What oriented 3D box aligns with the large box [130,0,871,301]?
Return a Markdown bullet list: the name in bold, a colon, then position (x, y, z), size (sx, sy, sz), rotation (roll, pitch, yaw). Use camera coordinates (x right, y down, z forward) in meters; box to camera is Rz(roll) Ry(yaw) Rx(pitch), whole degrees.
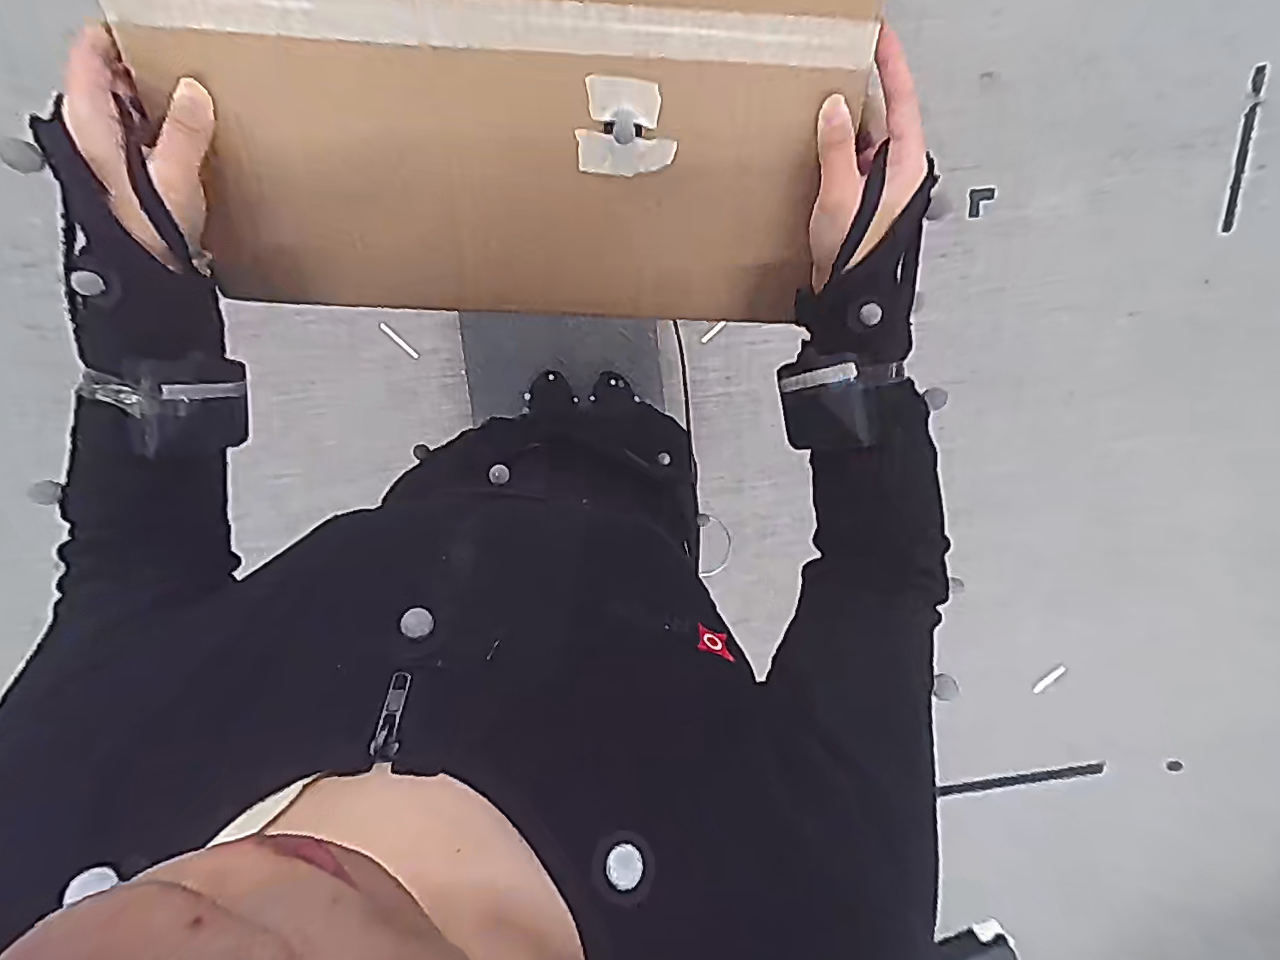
- **large box**: position (-0.079, -0.339, 0.415), size (0.408, 0.320, 0.320), rotation (1, 126, -4)
